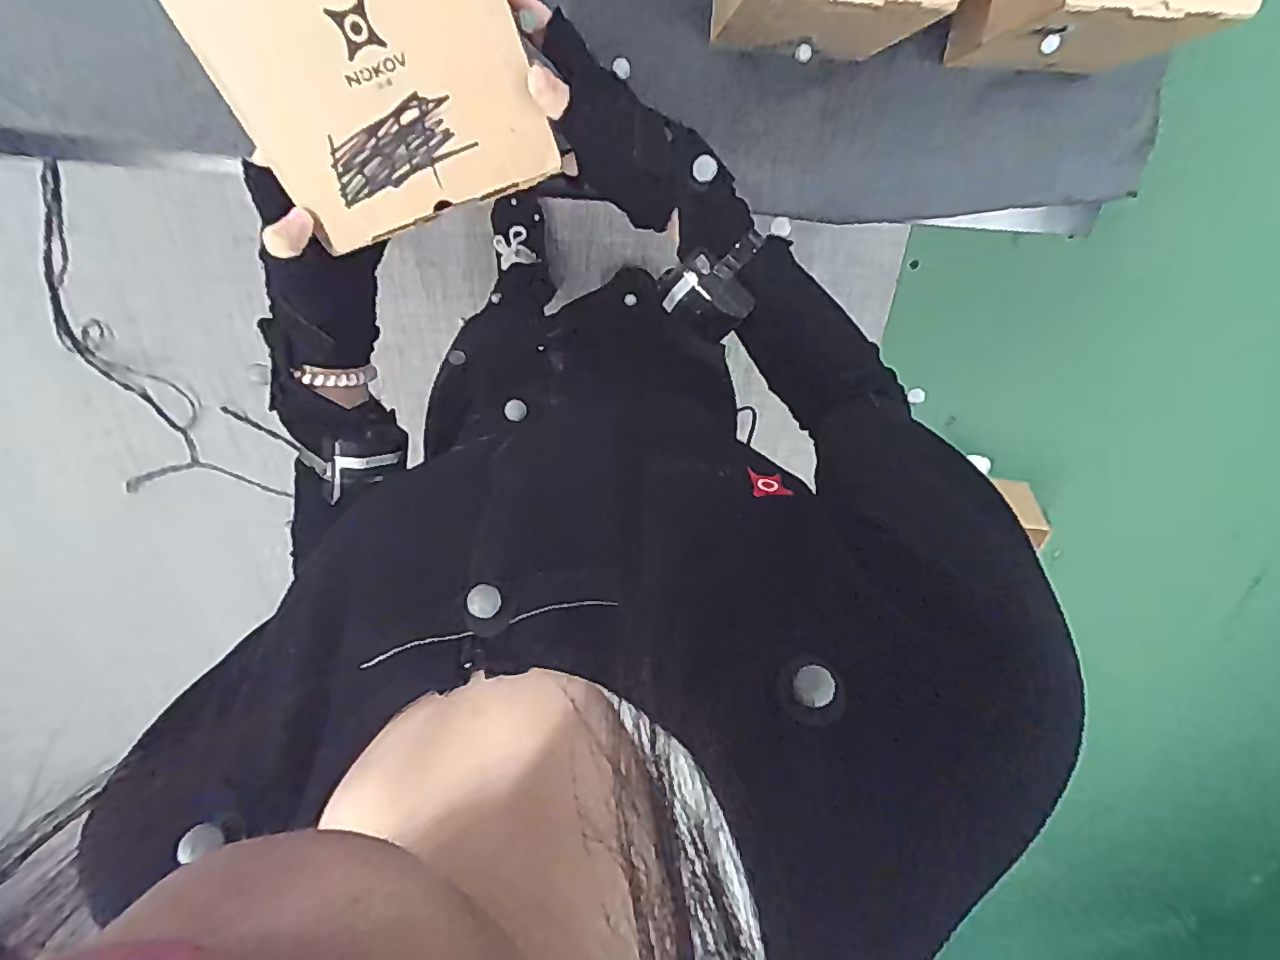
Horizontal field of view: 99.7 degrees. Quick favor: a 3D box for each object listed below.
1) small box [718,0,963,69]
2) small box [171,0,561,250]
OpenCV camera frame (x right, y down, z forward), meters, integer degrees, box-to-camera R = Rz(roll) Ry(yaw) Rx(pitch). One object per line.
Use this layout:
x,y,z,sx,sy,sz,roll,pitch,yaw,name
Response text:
0.166,-0.475,0.449,0.168,0.176,0.179,1,116,-4,small box
-0.158,-0.282,0.354,0.168,0.176,0.179,-18,128,2,small box
